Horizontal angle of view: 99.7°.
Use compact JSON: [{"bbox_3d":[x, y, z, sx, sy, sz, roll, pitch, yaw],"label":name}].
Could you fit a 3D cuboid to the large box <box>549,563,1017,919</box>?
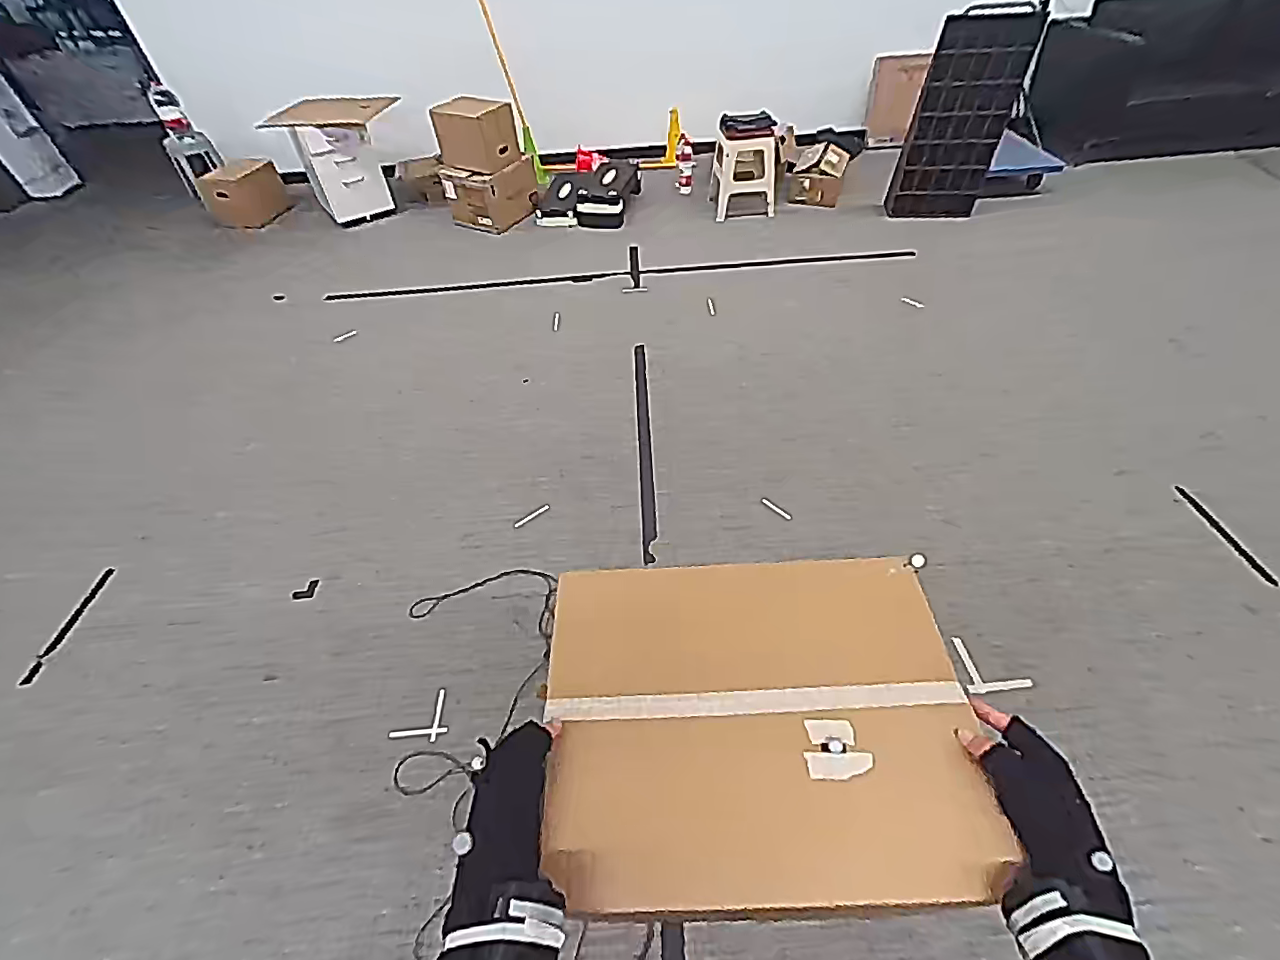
[{"bbox_3d":[0.119,0.324,0.659,0.408,0.320,0.320,-3,50,1],"label":"large box"}]
